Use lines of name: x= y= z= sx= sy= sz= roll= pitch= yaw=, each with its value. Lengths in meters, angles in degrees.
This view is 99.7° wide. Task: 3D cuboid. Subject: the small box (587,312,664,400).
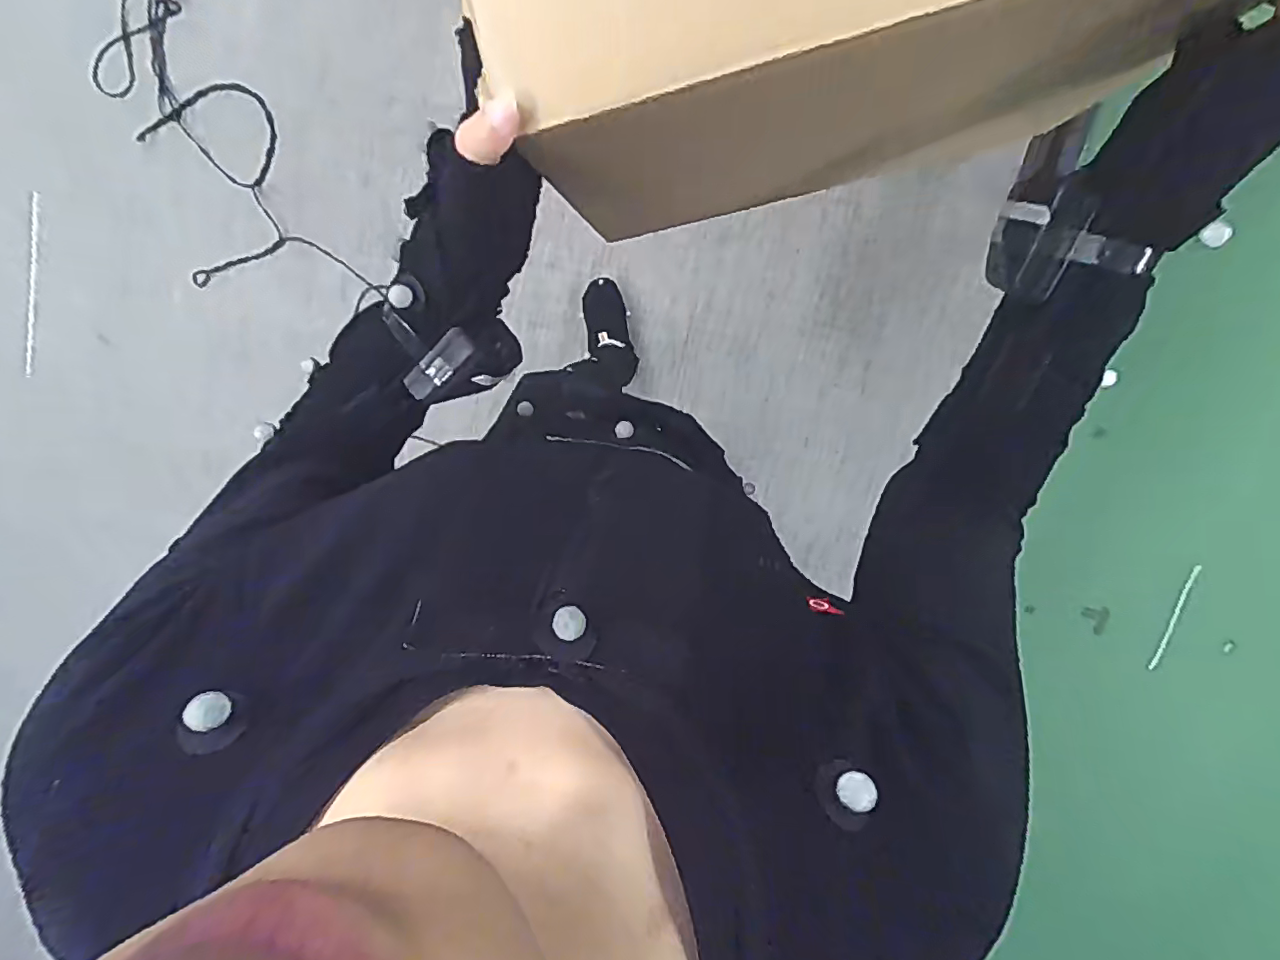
small box: x=-0.043 y=-0.313 z=1.350 sx=0.168 sy=0.176 sz=0.179 roll=5 pitch=111 yaw=-9
